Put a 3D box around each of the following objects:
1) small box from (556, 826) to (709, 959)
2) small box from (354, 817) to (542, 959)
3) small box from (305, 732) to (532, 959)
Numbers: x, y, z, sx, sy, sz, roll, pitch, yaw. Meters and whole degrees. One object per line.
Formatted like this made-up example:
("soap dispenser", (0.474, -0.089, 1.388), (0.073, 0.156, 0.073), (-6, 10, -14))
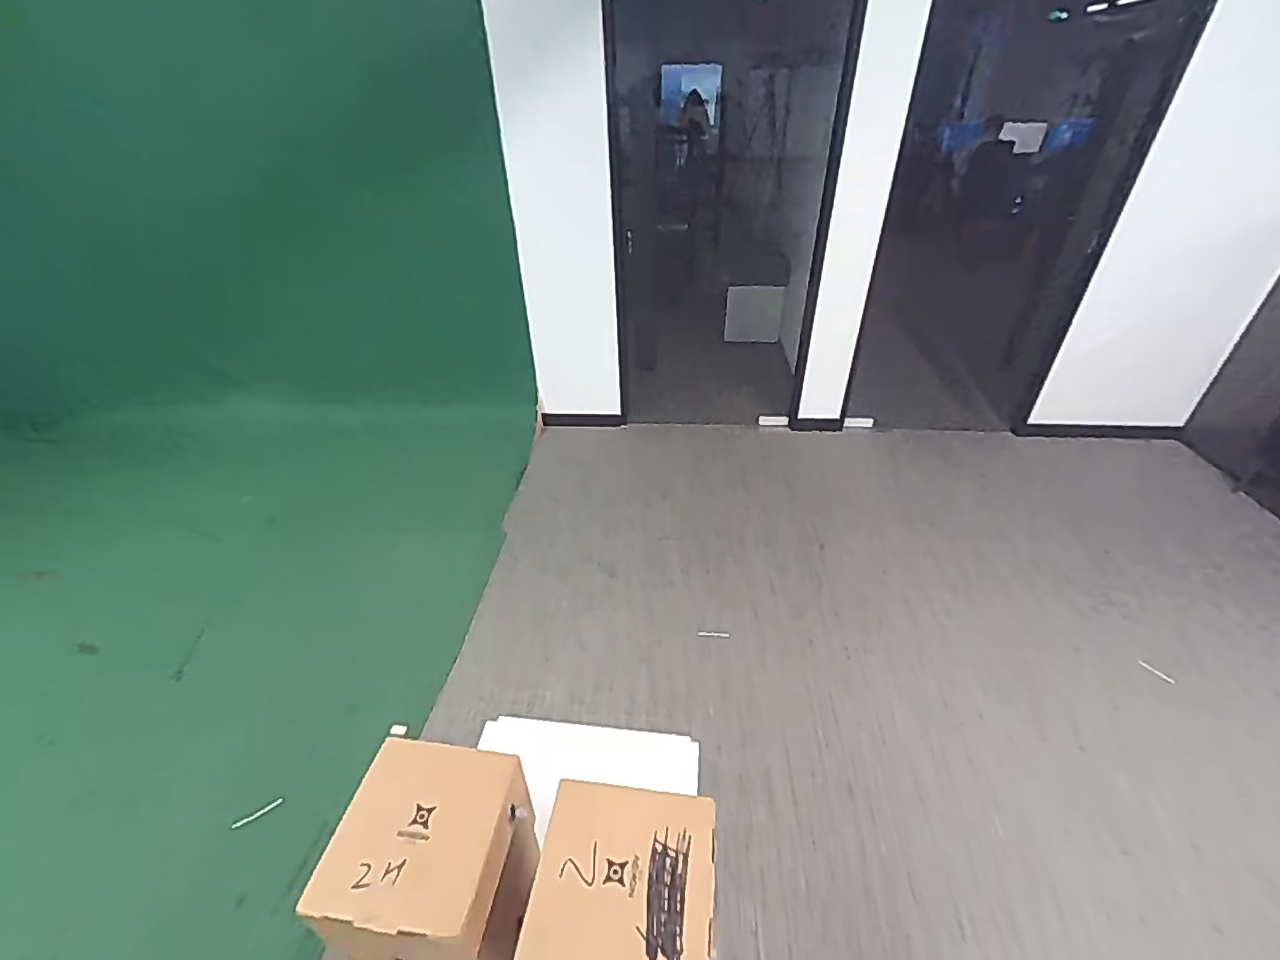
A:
("small box", (-0.004, 0.578, 0.681), (0.168, 0.176, 0.179), (3, 36, 8))
("small box", (-0.233, 0.560, 0.712), (0.168, 0.176, 0.179), (4, 37, 6))
("small box", (-0.230, 0.425, 0.619), (0.168, 0.176, 0.179), (5, 36, 7))
